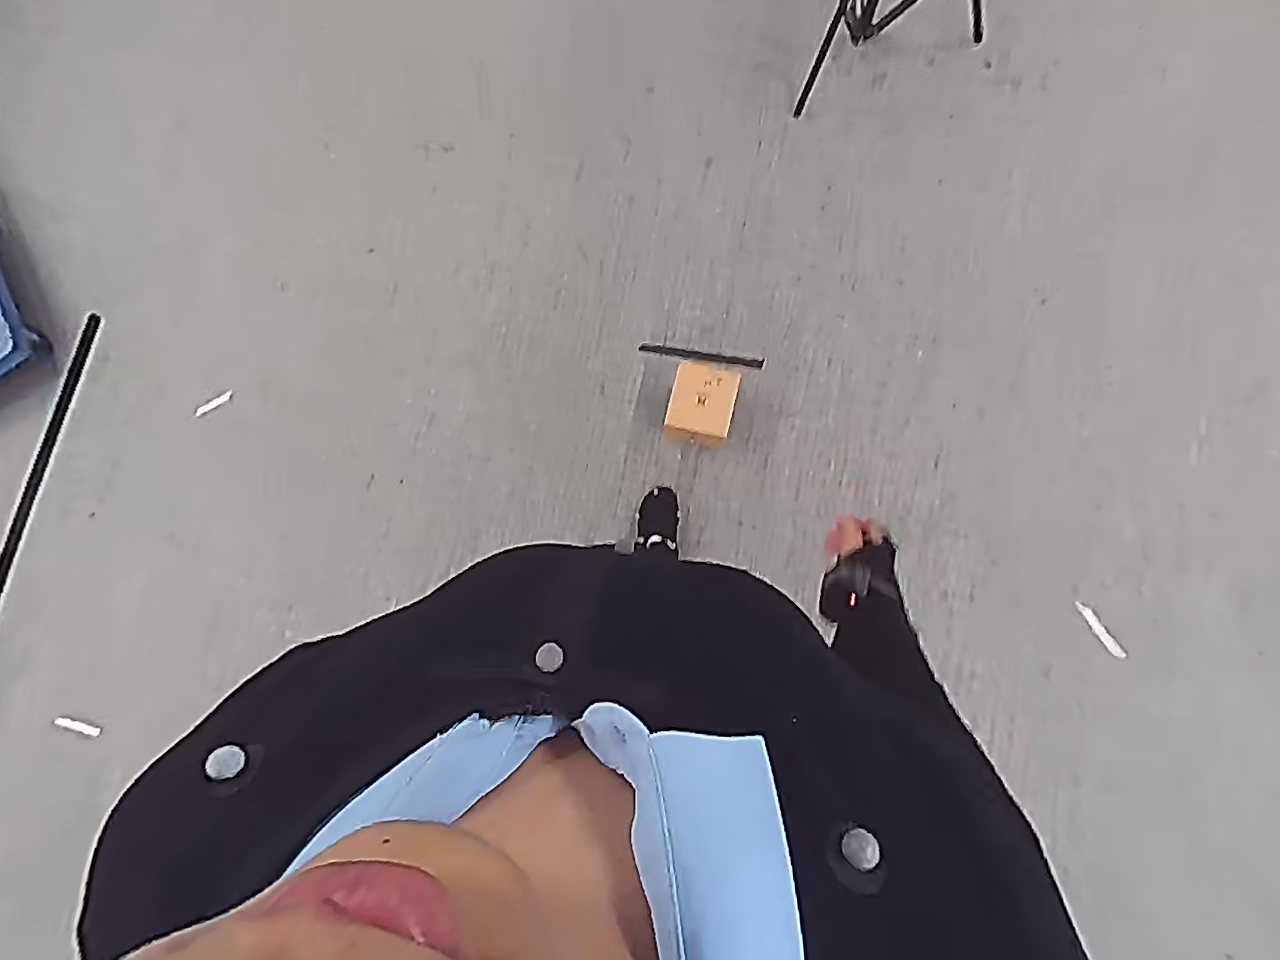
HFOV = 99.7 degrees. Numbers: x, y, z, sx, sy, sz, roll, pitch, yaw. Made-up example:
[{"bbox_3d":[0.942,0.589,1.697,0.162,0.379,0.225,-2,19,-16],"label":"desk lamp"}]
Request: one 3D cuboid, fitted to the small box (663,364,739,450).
[{"bbox_3d":[0.165,-0.190,1.468,0.168,0.176,0.179,14,82,7],"label":"small box"}]
